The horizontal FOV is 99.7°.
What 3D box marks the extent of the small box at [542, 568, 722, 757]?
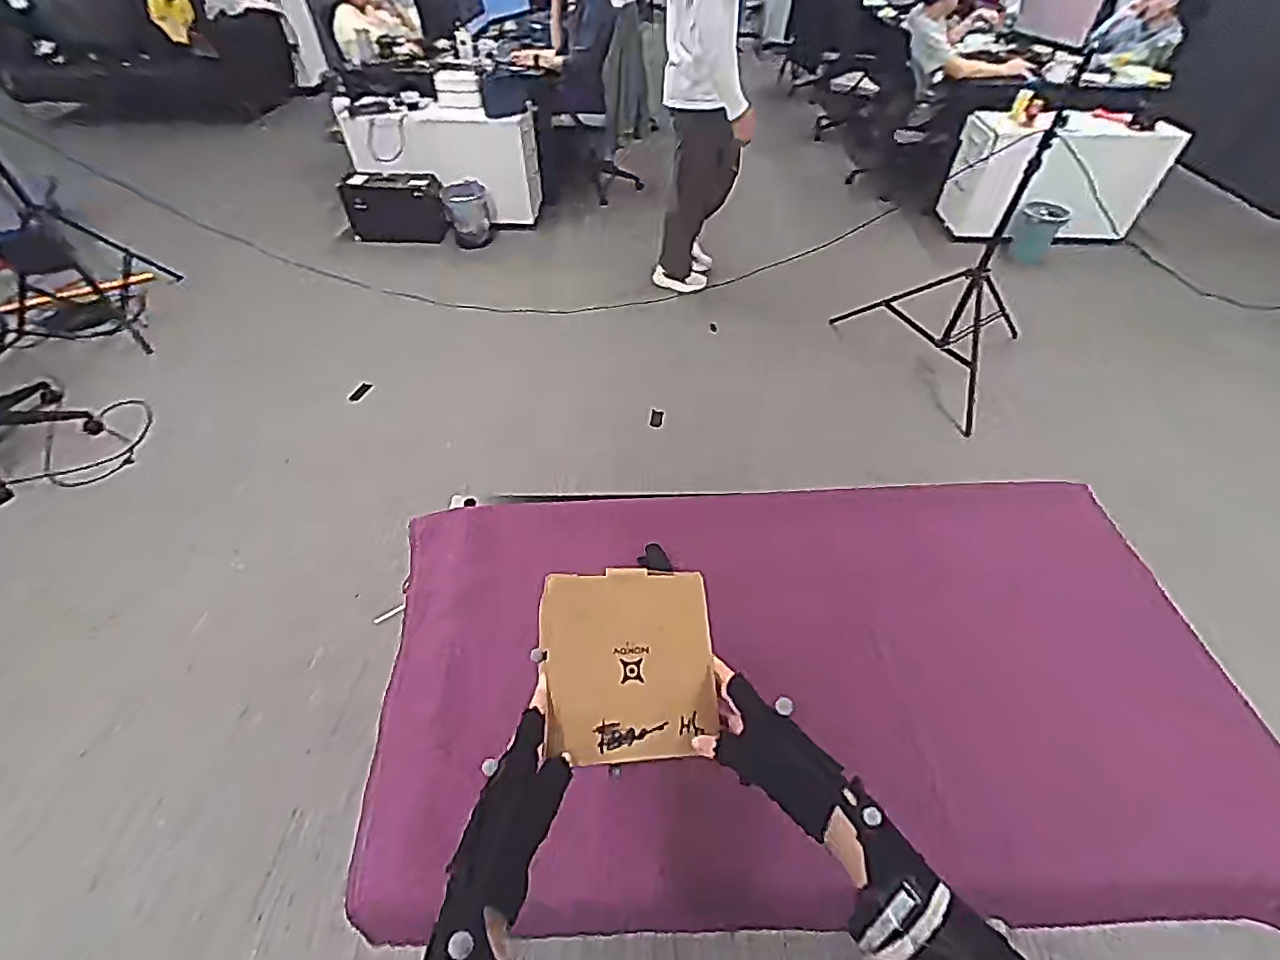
[{"bbox_3d":[-0.022,0.205,0.606,0.168,0.176,0.179,2,66,-12],"label":"small box"}]
